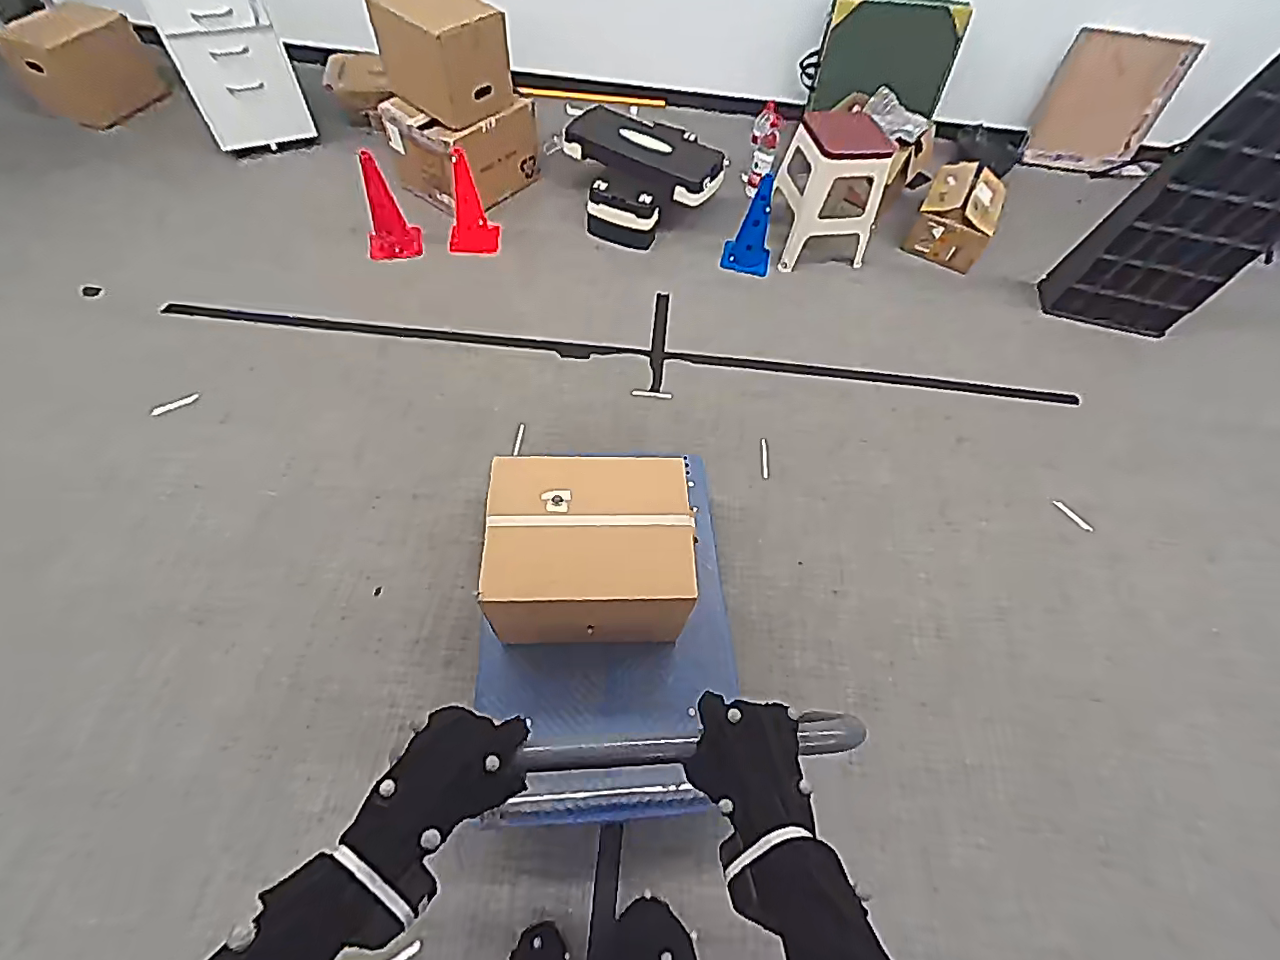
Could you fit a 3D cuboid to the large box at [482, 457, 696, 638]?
[{"bbox_3d":[-0.106,0.160,1.201,0.408,0.320,0.320,0,59,-4],"label":"large box"}]
